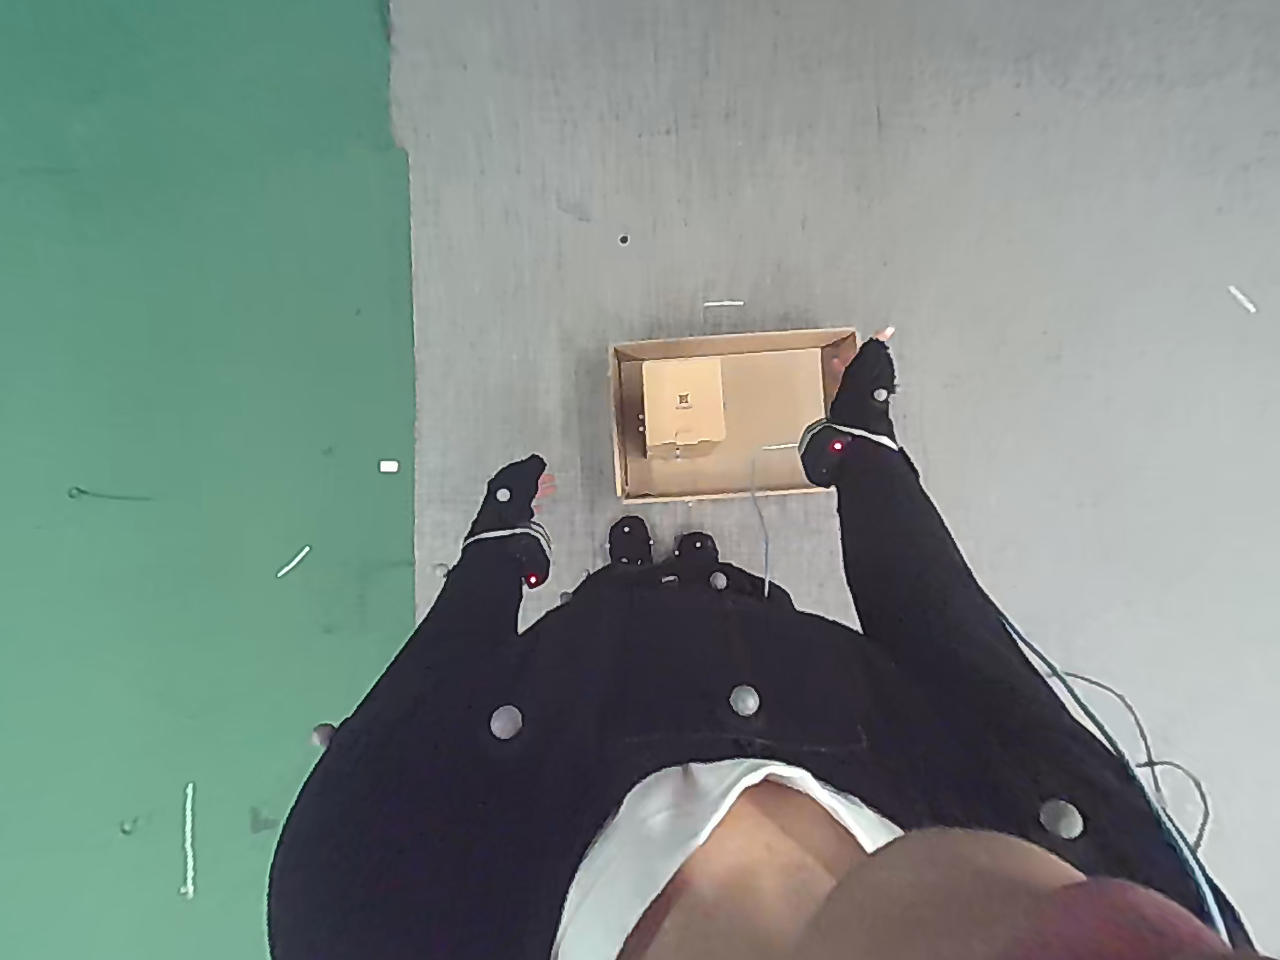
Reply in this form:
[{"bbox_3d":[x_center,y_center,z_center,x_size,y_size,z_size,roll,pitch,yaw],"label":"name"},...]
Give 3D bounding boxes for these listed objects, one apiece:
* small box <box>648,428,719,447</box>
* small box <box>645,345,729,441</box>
[{"bbox_3d":[0.101,-0.180,1.345,0.168,0.176,0.179,-3,89,2],"label":"small box"},{"bbox_3d":[0.097,-0.183,1.182,0.168,0.176,0.179,-4,89,1],"label":"small box"}]
